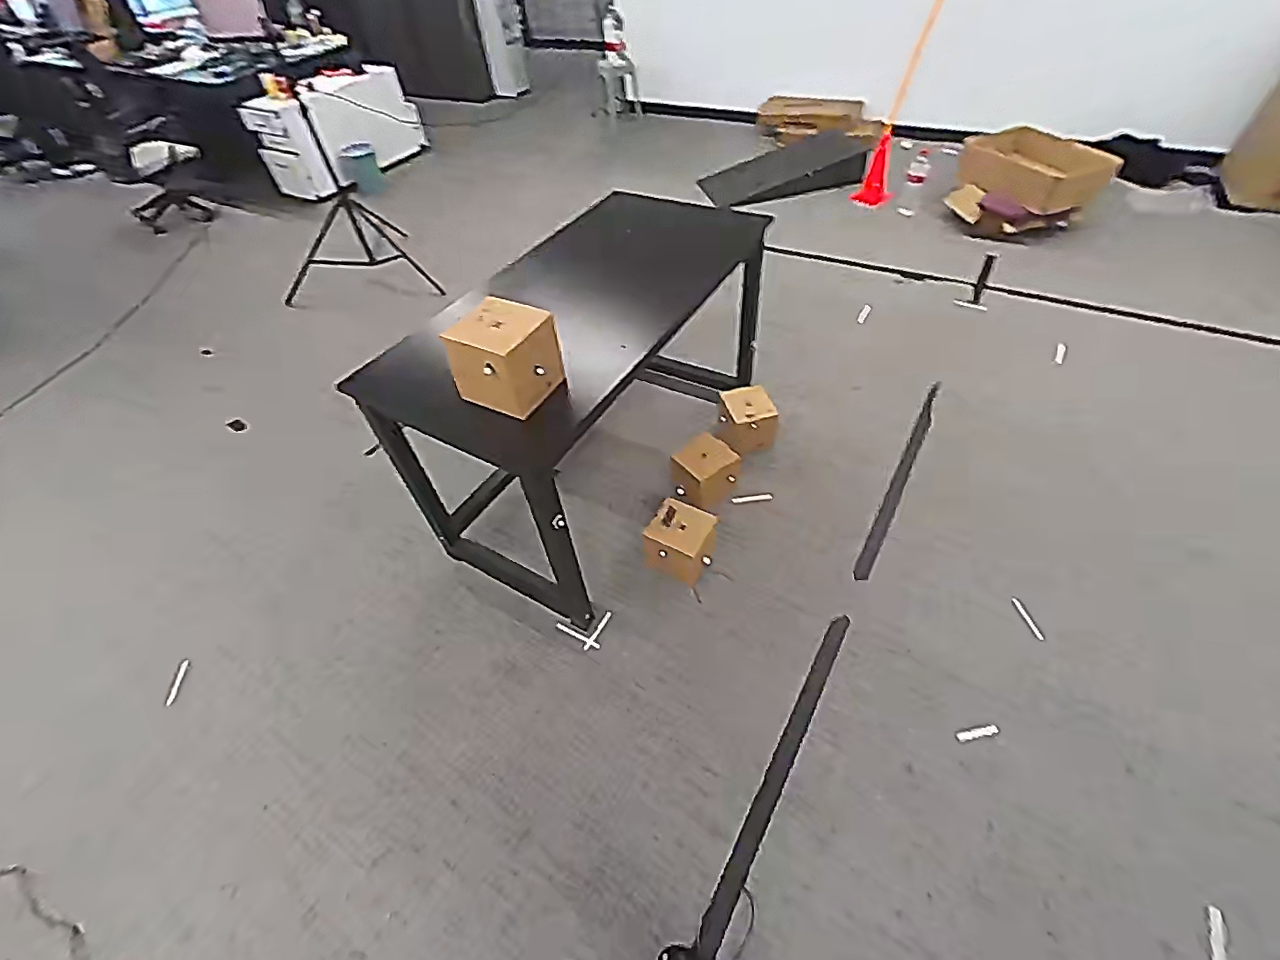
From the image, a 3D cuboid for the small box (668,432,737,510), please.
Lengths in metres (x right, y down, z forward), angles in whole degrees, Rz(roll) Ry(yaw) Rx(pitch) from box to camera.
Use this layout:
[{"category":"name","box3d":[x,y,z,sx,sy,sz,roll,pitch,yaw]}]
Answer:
[{"category":"small box","box3d":[0.216,-0.029,1.883,0.179,0.176,0.168,-34,53,-20]}]

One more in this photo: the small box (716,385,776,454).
[{"category":"small box","box3d":[0.390,-0.227,2.032,0.168,0.176,0.179,-15,49,-7]}]

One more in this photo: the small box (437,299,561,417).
[{"category":"small box","box3d":[-0.293,-0.259,1.163,0.179,0.176,0.168,20,53,22]}]

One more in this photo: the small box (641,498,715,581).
[{"category":"small box","box3d":[0.122,0.191,1.700,0.179,0.176,0.168,22,55,21]}]
